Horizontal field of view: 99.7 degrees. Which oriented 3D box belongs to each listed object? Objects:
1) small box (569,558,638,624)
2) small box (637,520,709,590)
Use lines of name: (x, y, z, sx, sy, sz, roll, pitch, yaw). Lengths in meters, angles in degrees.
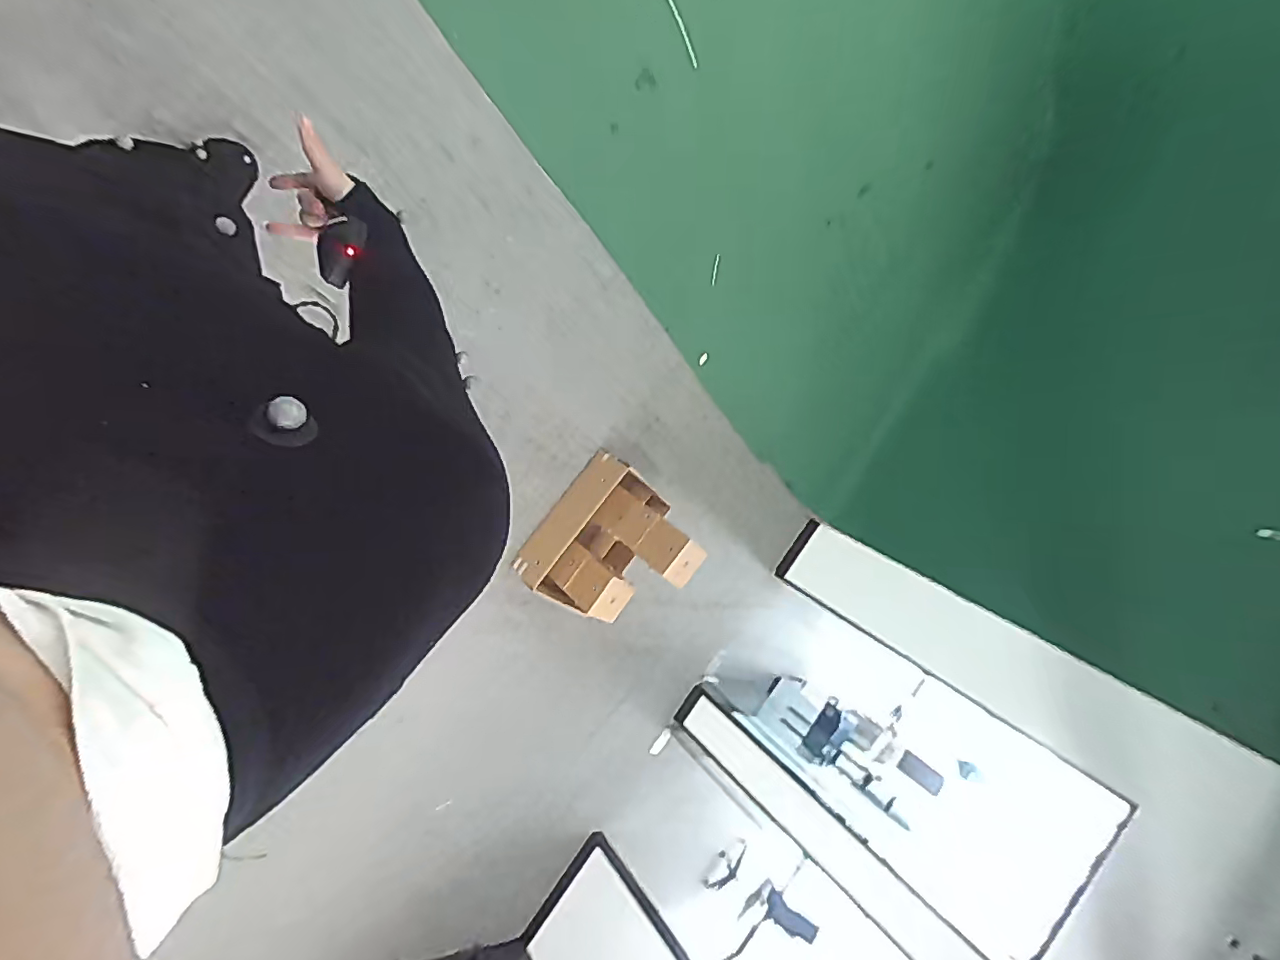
small box: (-0.148, 0.434, 2.132, 0.179, 0.176, 0.168, -54, 137, -4)
small box: (0.123, 0.278, 2.042, 0.179, 0.176, 0.168, -52, 139, -5)
